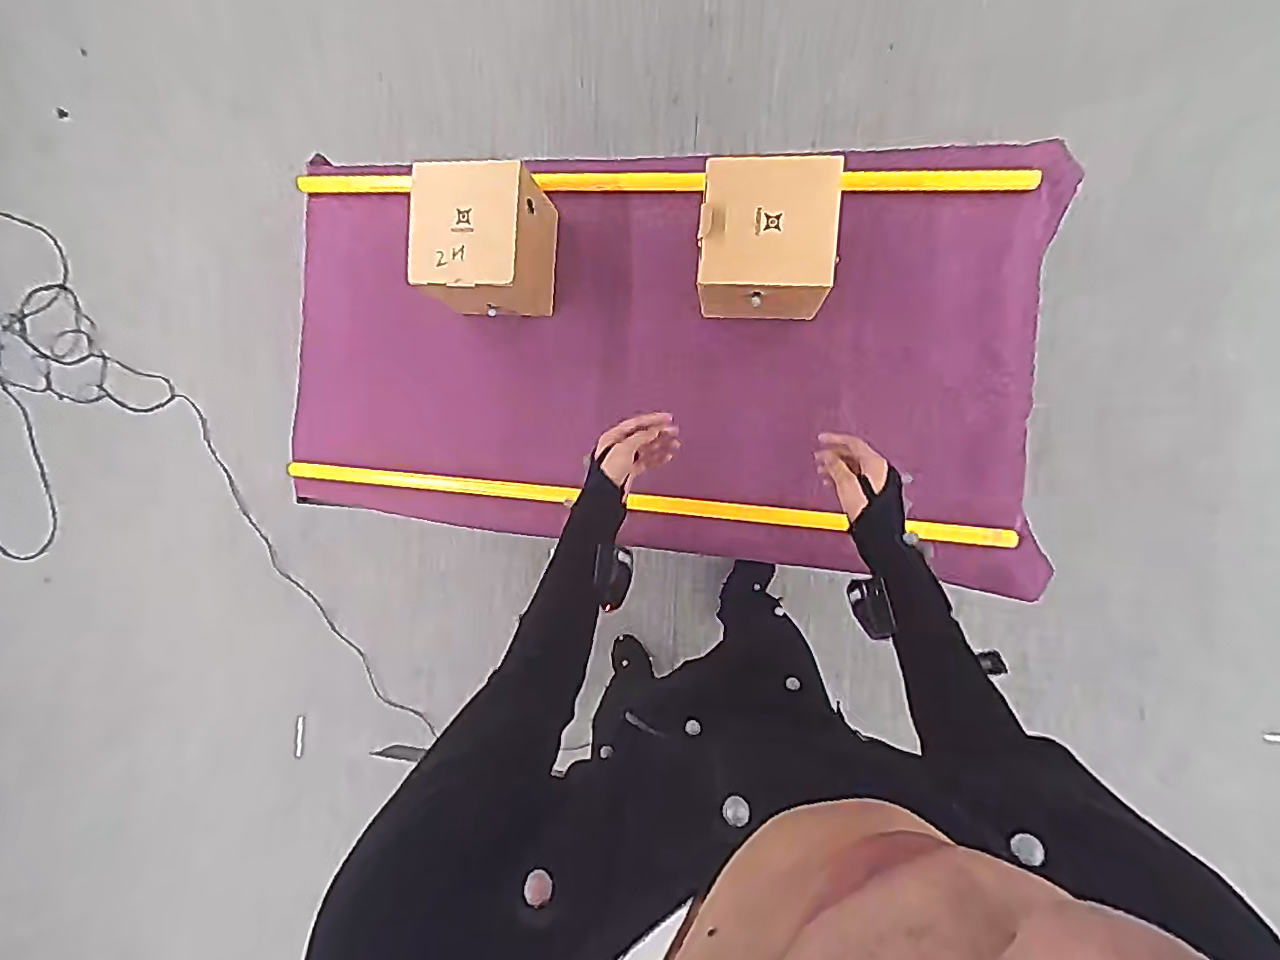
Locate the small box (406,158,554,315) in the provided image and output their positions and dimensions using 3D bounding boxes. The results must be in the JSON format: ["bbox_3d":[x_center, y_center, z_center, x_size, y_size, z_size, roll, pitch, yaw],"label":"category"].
[{"bbox_3d":[-0.240,-0.371,0.846,0.168,0.176,0.179,5,94,10],"label":"small box"}]

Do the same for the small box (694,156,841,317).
[{"bbox_3d":[0.176,-0.339,0.780,0.179,0.176,0.168,5,93,10],"label":"small box"}]
